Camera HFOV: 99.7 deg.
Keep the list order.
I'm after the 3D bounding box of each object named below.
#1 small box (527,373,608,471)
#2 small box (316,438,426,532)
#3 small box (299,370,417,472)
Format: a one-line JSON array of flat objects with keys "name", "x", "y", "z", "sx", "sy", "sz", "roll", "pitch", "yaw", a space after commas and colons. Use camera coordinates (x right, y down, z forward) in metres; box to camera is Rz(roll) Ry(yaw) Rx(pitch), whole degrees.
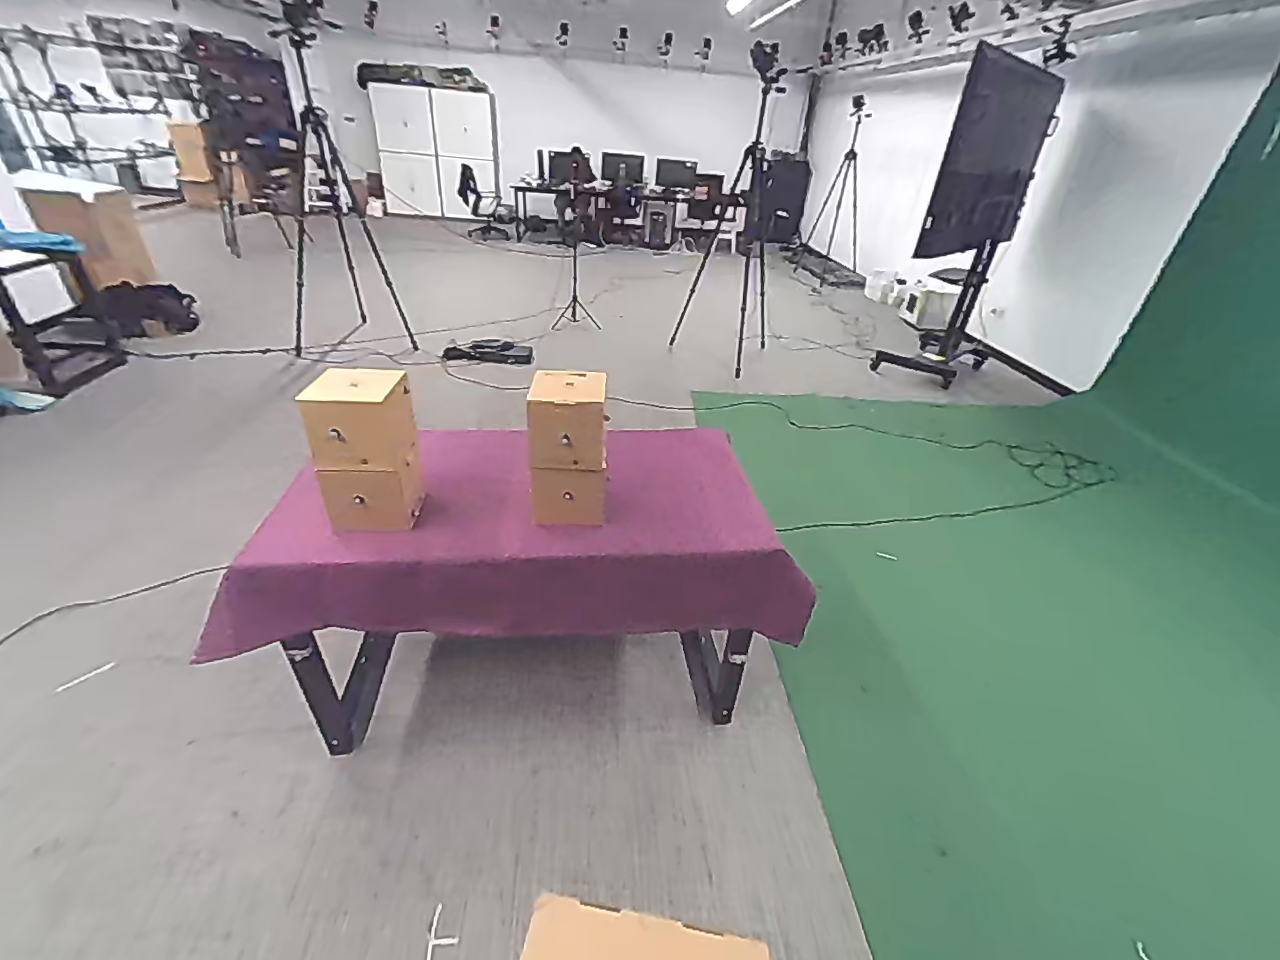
[{"name": "small box", "x": -0.160, "y": -0.133, "z": 1.243, "sx": 0.168, "sy": 0.176, "sz": 0.179, "roll": 3, "pitch": 33, "yaw": -3}, {"name": "small box", "x": -0.614, "y": 0.009, "z": 1.263, "sx": 0.179, "sy": 0.176, "sz": 0.168, "roll": 0, "pitch": 32, "yaw": -7}, {"name": "small box", "x": -0.600, "y": -0.129, "z": 1.179, "sx": 0.168, "sy": 0.176, "sz": 0.179, "roll": 1, "pitch": 31, "yaw": -6}]
